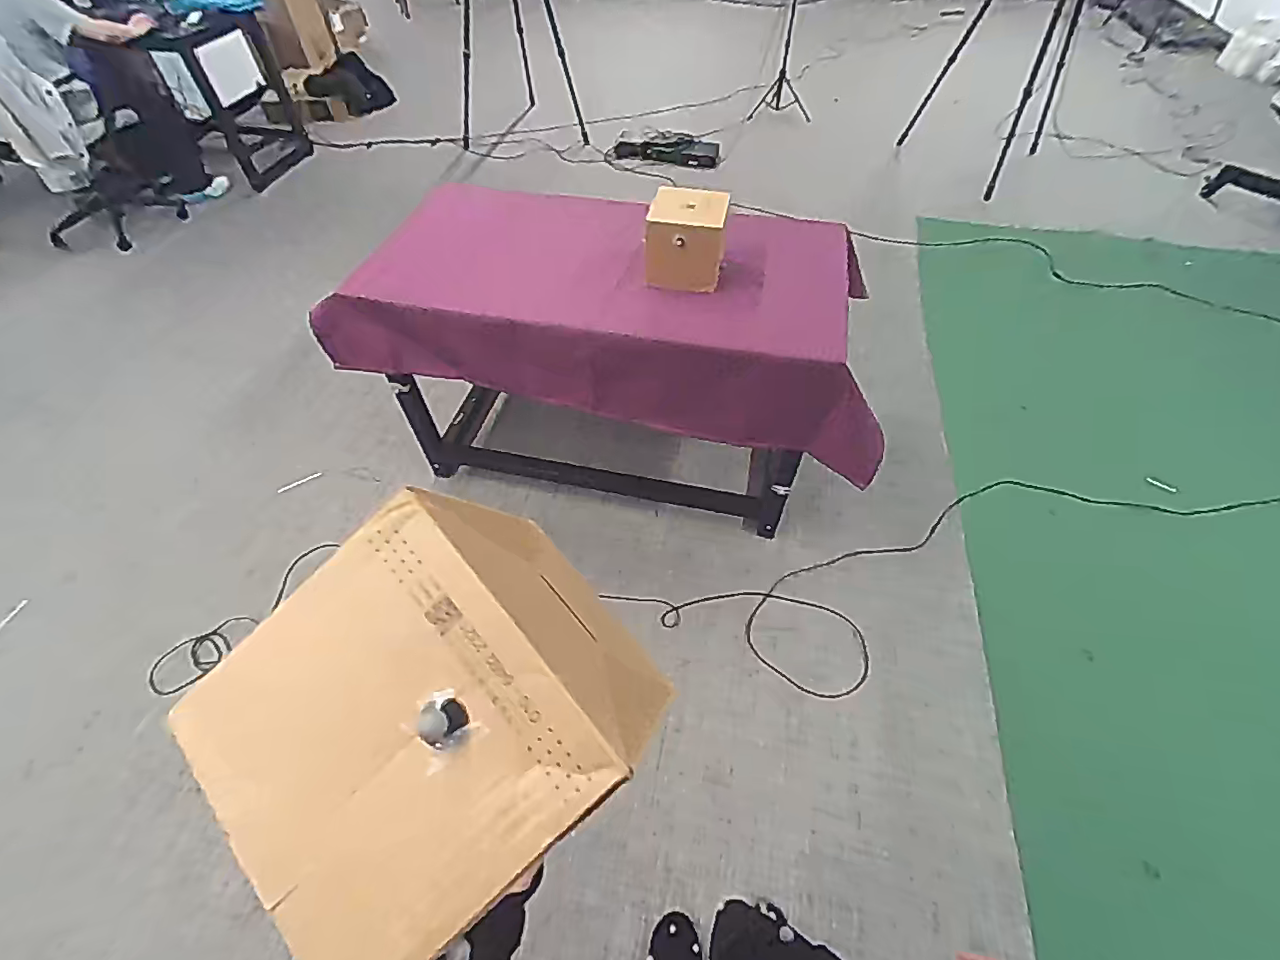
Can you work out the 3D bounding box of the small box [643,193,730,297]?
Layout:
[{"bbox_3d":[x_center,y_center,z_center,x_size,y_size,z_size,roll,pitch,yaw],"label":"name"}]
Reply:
[{"bbox_3d":[0.109,-0.561,1.298,0.179,0.176,0.168,10,53,8],"label":"small box"}]

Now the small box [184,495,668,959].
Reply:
[{"bbox_3d":[-0.099,0.131,0.328,0.176,0.179,0.168,-44,75,0],"label":"small box"}]
